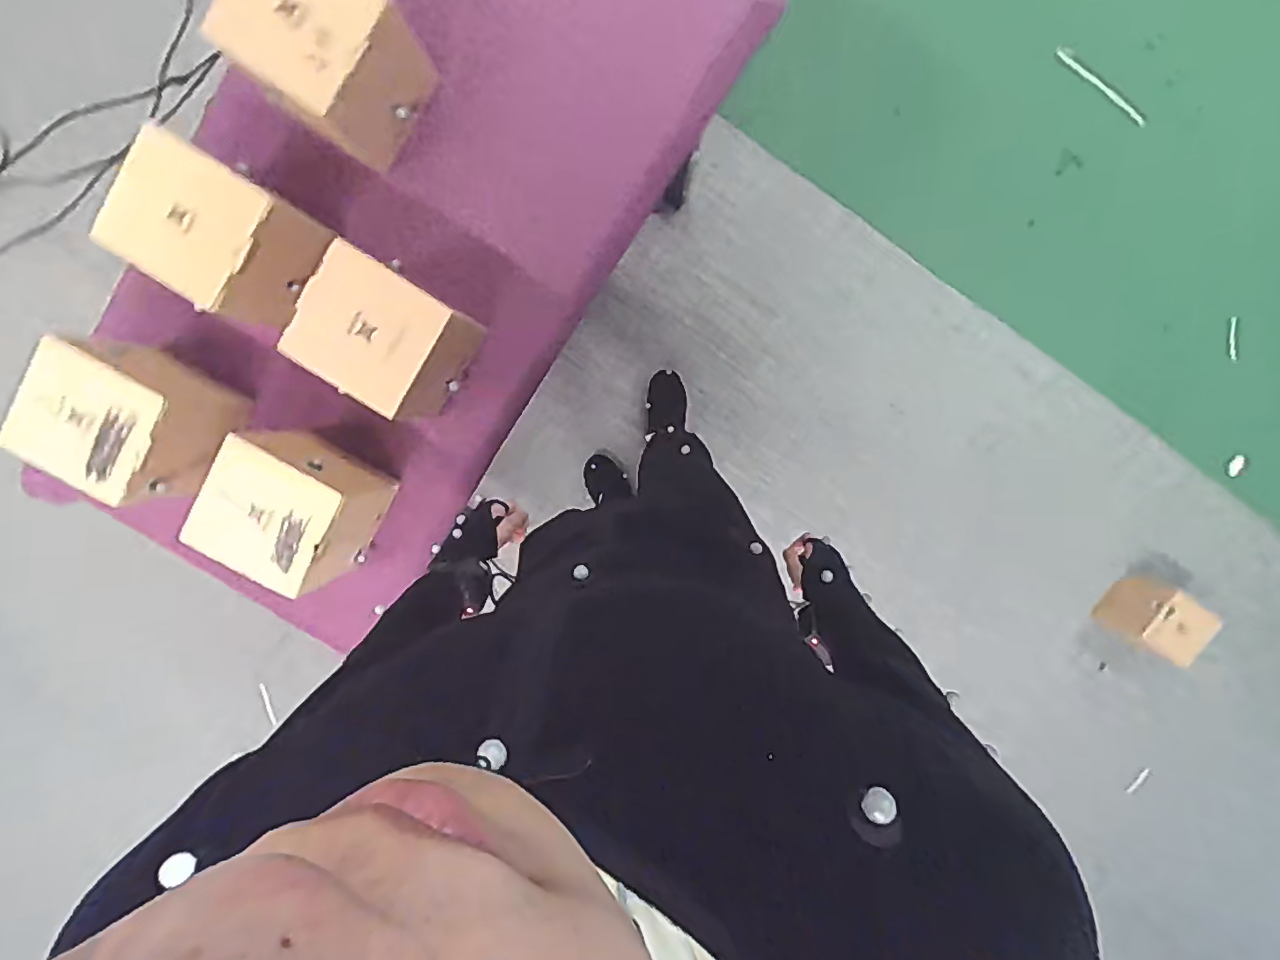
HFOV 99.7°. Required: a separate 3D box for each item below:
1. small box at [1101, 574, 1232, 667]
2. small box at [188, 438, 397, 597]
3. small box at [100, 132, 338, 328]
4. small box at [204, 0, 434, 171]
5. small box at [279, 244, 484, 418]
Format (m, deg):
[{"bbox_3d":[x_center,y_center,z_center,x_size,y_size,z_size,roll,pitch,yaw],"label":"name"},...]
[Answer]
[{"bbox_3d":[1.520,0.399,1.572,0.179,0.176,0.168,34,96,-5],"label":"small box"},{"bbox_3d":[-0.506,0.043,0.816,0.179,0.176,0.168,29,96,-1],"label":"small box"},{"bbox_3d":[-0.582,-0.338,0.774,0.179,0.176,0.168,32,96,-5],"label":"small box"},{"bbox_3d":[-0.423,-0.568,0.742,0.179,0.176,0.168,33,97,-4],"label":"small box"},{"bbox_3d":[-0.361,-0.202,0.788,0.179,0.176,0.168,32,97,-4],"label":"small box"}]
